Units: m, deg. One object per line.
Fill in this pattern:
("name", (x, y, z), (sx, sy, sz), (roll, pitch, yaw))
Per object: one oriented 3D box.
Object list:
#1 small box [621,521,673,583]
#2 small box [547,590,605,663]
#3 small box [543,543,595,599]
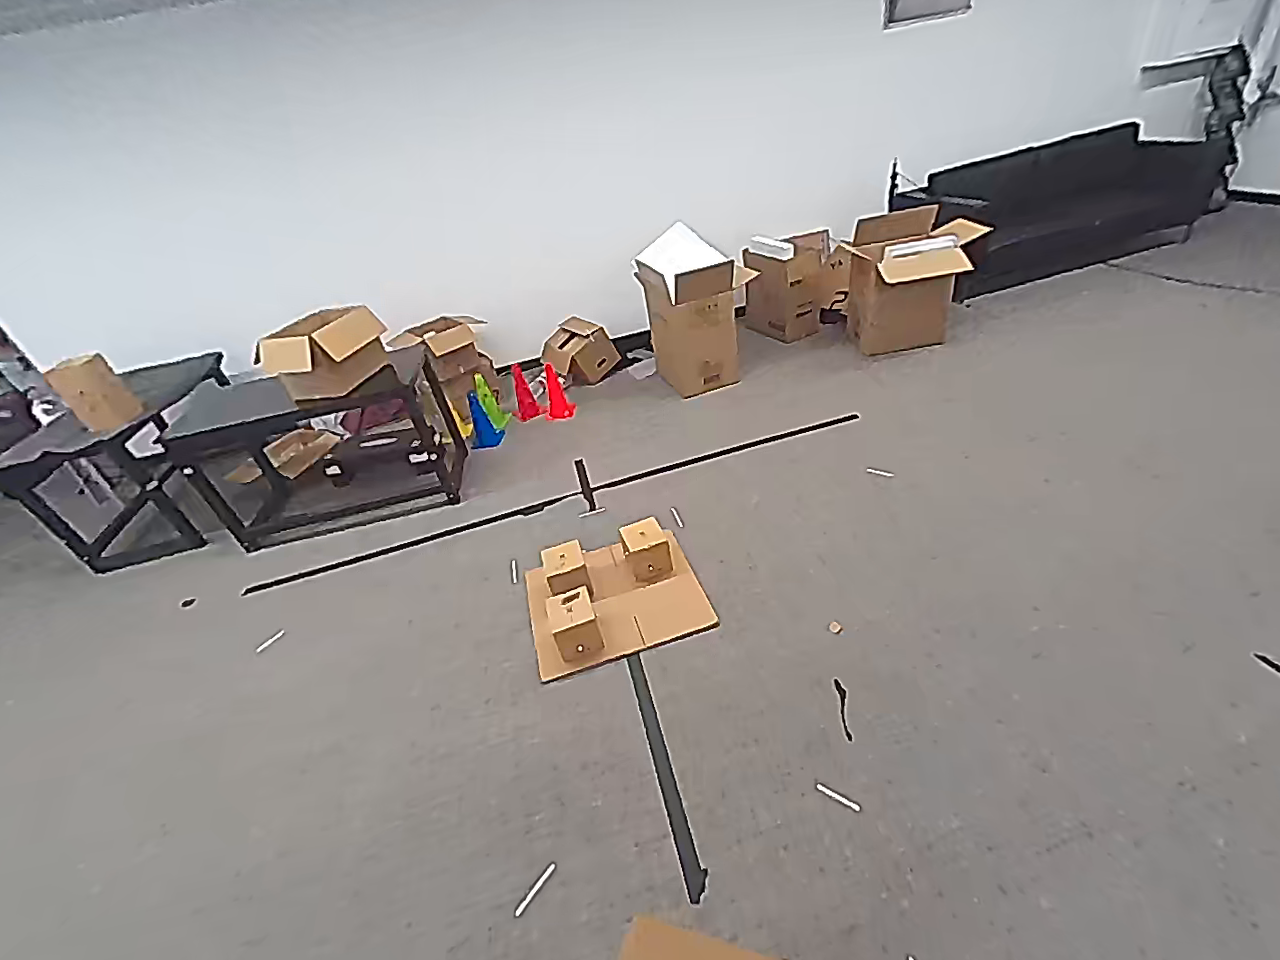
("small box", (0.030, 0.310, 2.319), (0.168, 0.176, 0.179), (-19, 35, -11))
("small box", (-0.242, 0.552, 2.038), (0.168, 0.176, 0.179), (-18, 36, -8))
("small box", (-0.299, 0.399, 2.273), (0.168, 0.176, 0.179), (-17, 35, -7))
